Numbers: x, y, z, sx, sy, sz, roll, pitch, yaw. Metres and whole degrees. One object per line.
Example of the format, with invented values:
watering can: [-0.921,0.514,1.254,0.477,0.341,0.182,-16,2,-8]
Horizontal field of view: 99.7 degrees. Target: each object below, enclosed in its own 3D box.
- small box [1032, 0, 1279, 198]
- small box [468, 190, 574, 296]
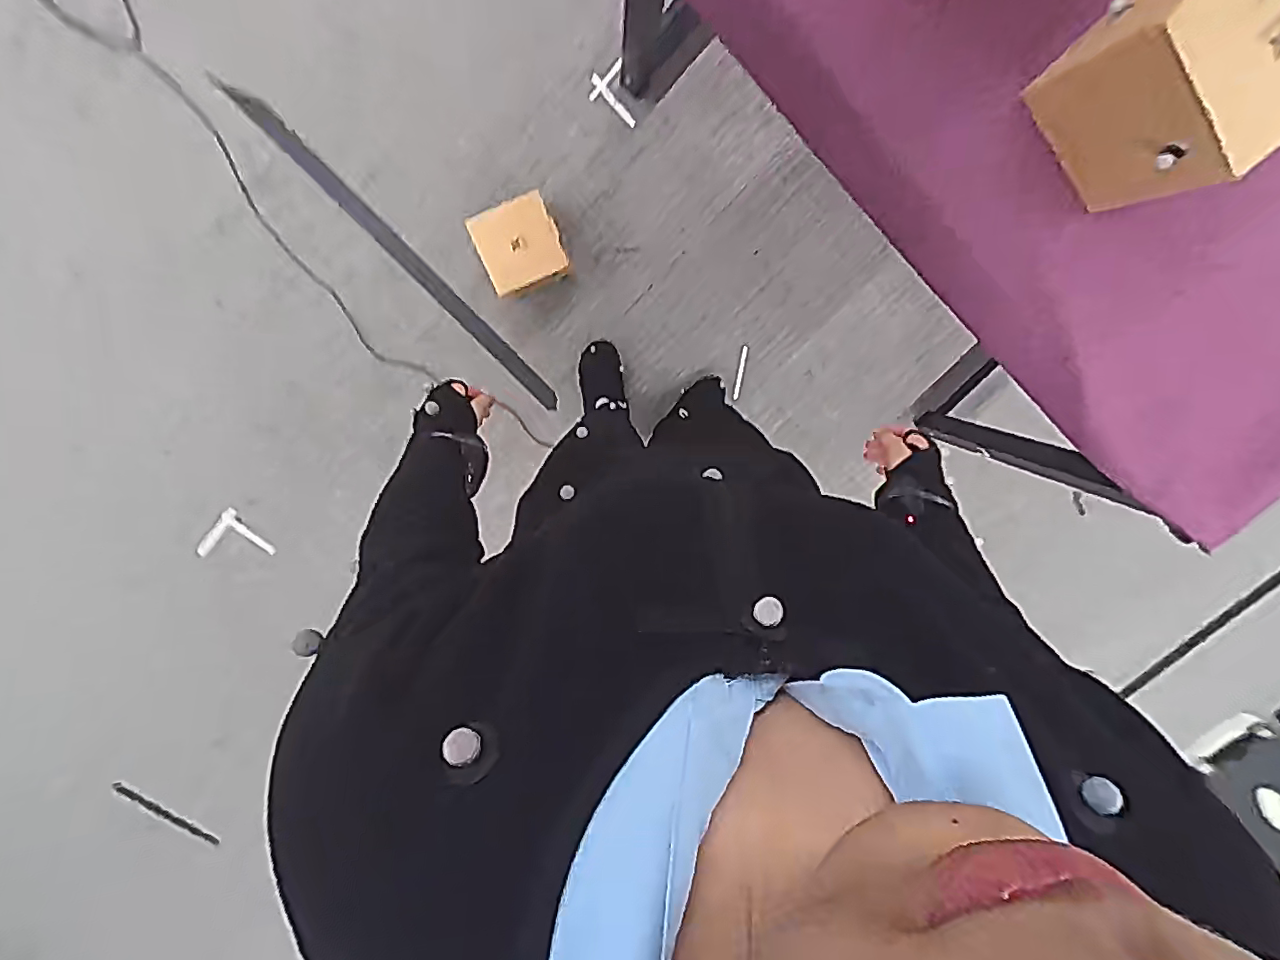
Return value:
small box: [0.574,-0.427,0.565,0.168,0.176,0.179,-42,104,8]
small box: [-0.265,-0.536,1.248,0.179,0.176,0.168,-23,107,3]
